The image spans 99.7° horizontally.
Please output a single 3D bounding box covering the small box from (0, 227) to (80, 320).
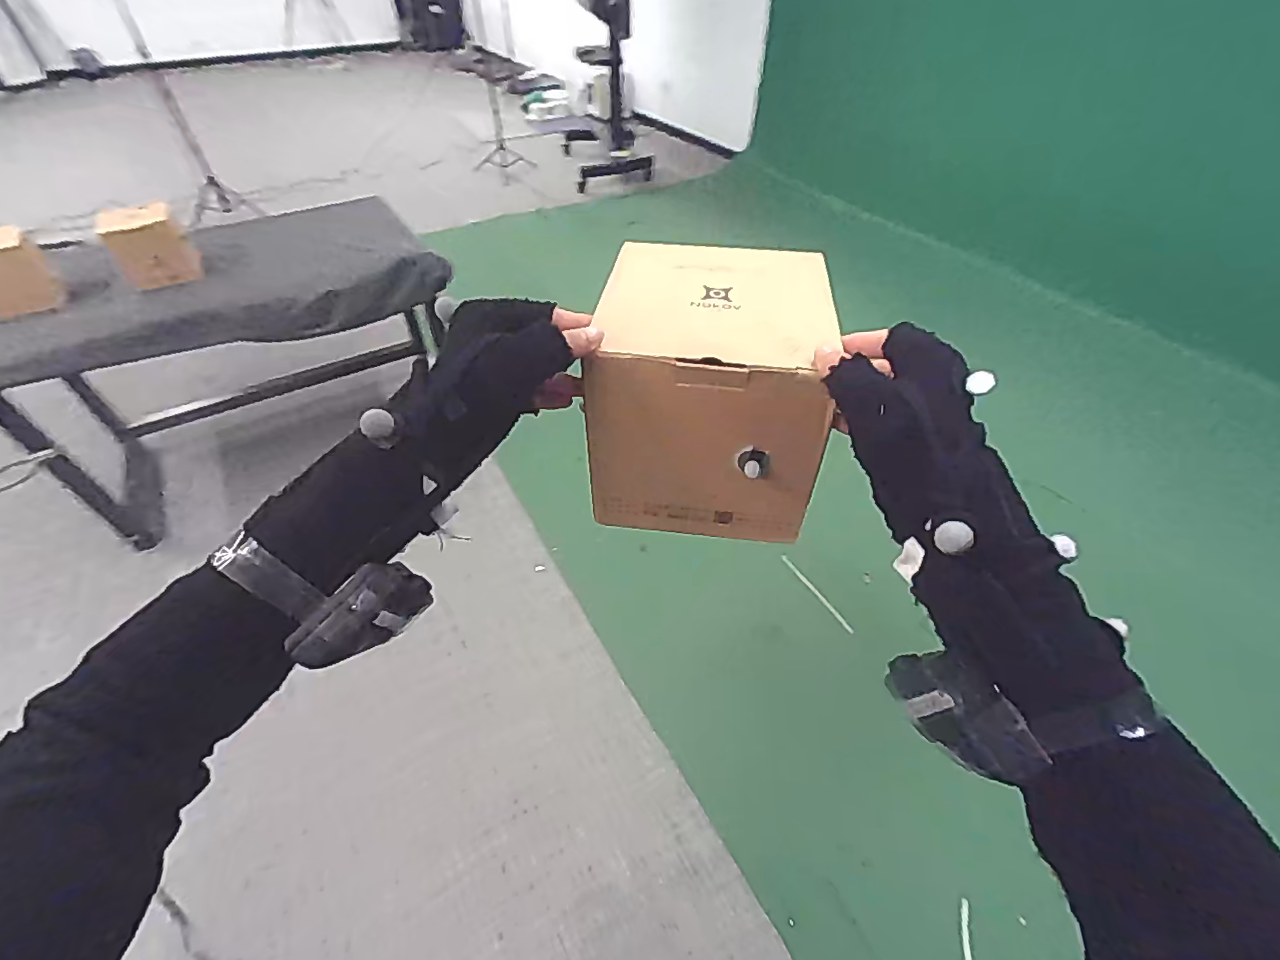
[{"bbox_3d":[-1.657,-0.545,1.433,0.179,0.176,0.168,-25,51,-24],"label":"small box"}]

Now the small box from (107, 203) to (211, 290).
[{"bbox_3d":[-1.373,-0.665,1.553,0.168,0.176,0.179,-24,51,-21],"label":"small box"}]

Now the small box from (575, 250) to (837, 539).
[{"bbox_3d":[0.050,-0.070,0.447,0.168,0.176,0.179,5,44,4],"label":"small box"}]
